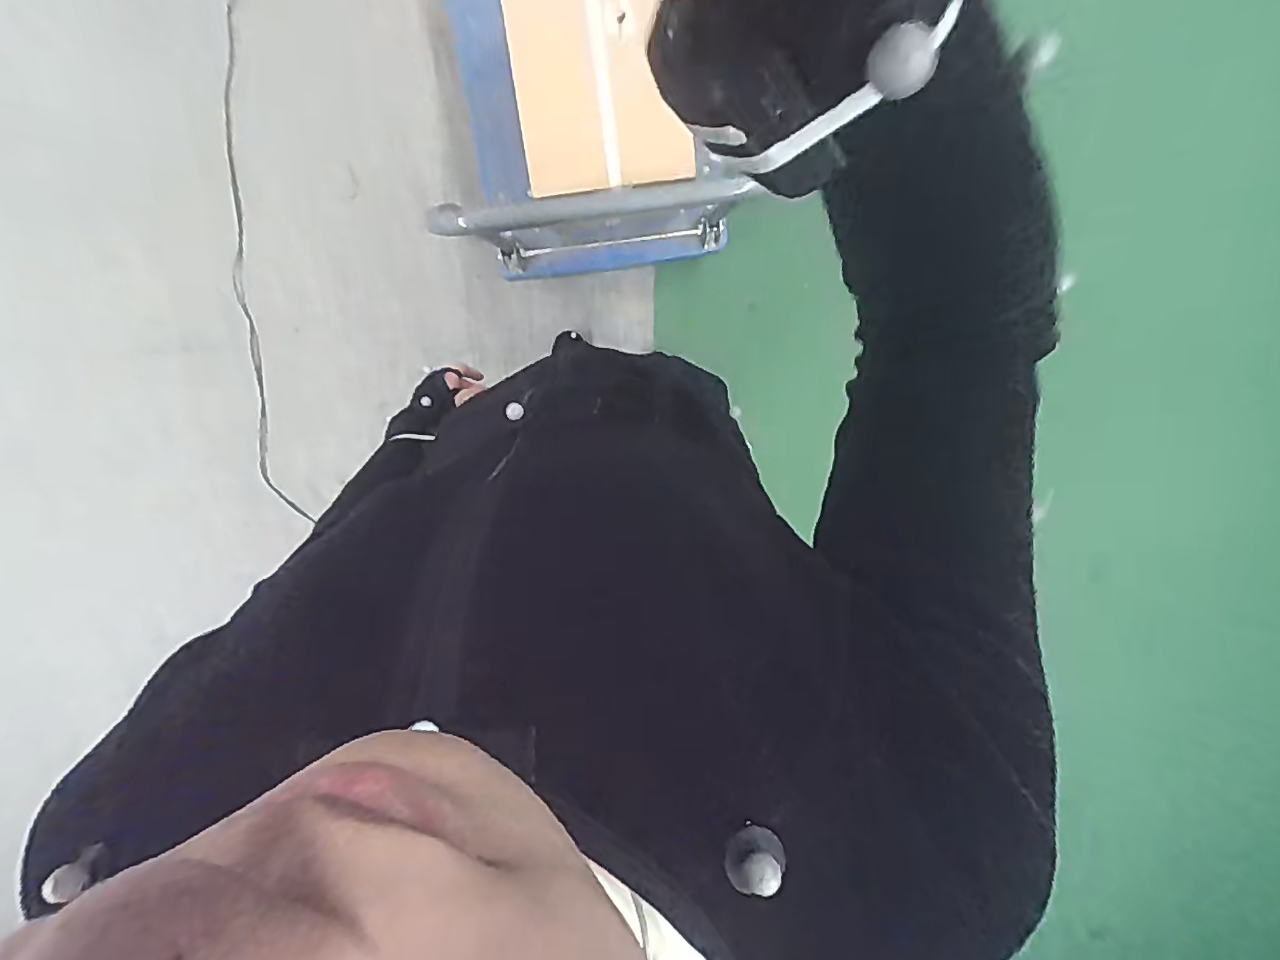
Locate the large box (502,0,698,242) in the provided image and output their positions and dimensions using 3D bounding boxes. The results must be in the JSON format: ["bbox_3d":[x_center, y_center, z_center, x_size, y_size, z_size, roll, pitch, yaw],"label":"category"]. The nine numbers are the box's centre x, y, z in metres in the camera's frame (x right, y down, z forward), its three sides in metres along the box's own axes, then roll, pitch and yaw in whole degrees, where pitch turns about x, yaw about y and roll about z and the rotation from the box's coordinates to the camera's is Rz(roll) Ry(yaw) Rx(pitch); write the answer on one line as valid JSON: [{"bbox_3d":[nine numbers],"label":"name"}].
[{"bbox_3d":[-0.071,-0.756,1.122,0.320,0.320,0.408,-8,103,-1],"label":"large box"}]
